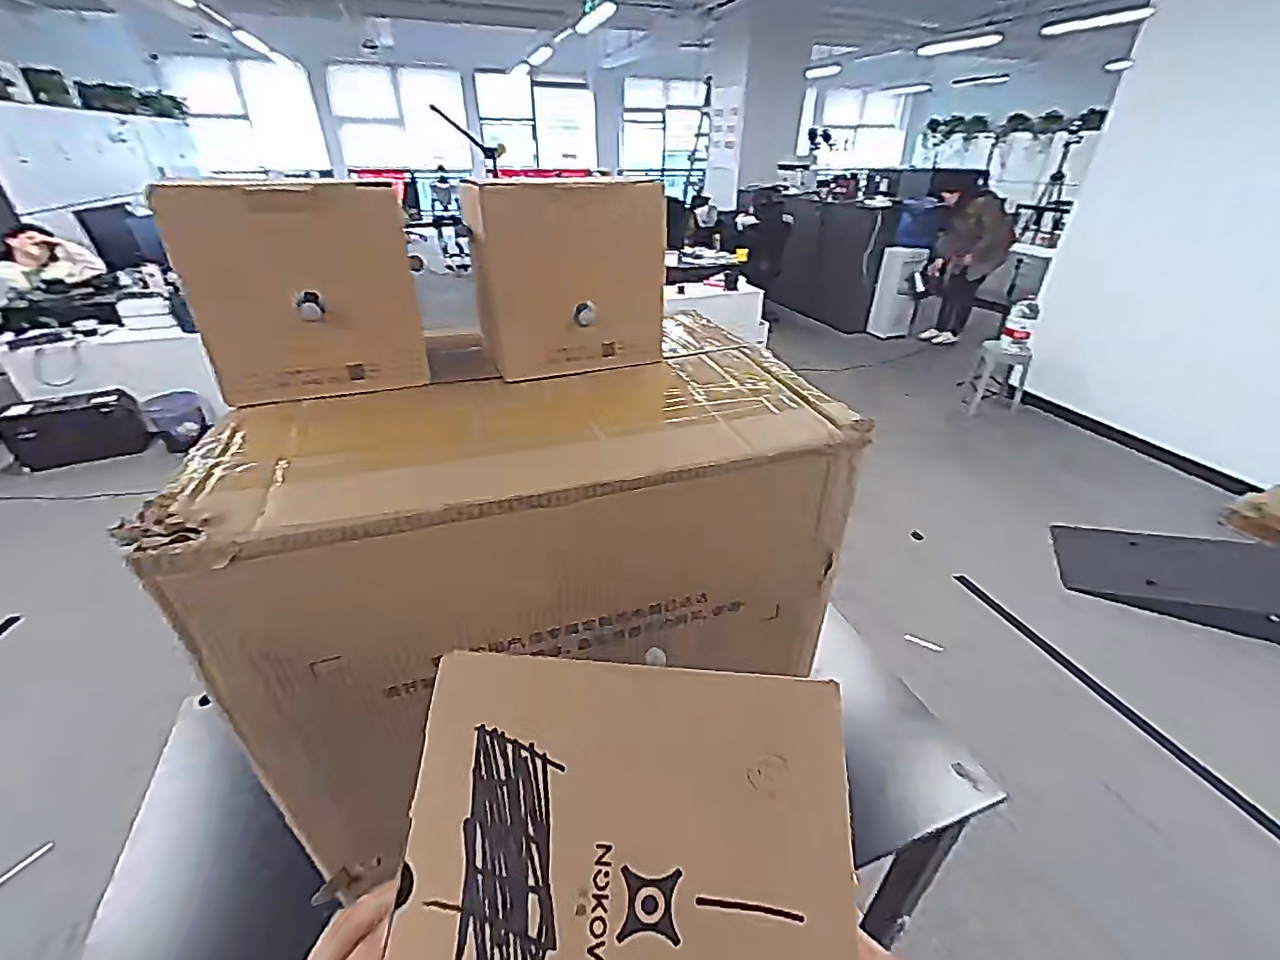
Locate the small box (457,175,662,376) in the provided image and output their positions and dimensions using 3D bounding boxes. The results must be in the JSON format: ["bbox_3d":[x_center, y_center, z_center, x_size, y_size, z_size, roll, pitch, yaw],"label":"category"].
[{"bbox_3d":[-0.086,-0.218,0.561,0.168,0.176,0.179,-12,32,-18],"label":"small box"}]

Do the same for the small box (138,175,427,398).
[{"bbox_3d":[-0.303,-0.182,0.502,0.168,0.176,0.179,-12,33,-21],"label":"small box"}]

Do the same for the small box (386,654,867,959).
[{"bbox_3d":[-0.004,0.189,0.275,0.179,0.176,0.168,4,66,0],"label":"small box"}]
